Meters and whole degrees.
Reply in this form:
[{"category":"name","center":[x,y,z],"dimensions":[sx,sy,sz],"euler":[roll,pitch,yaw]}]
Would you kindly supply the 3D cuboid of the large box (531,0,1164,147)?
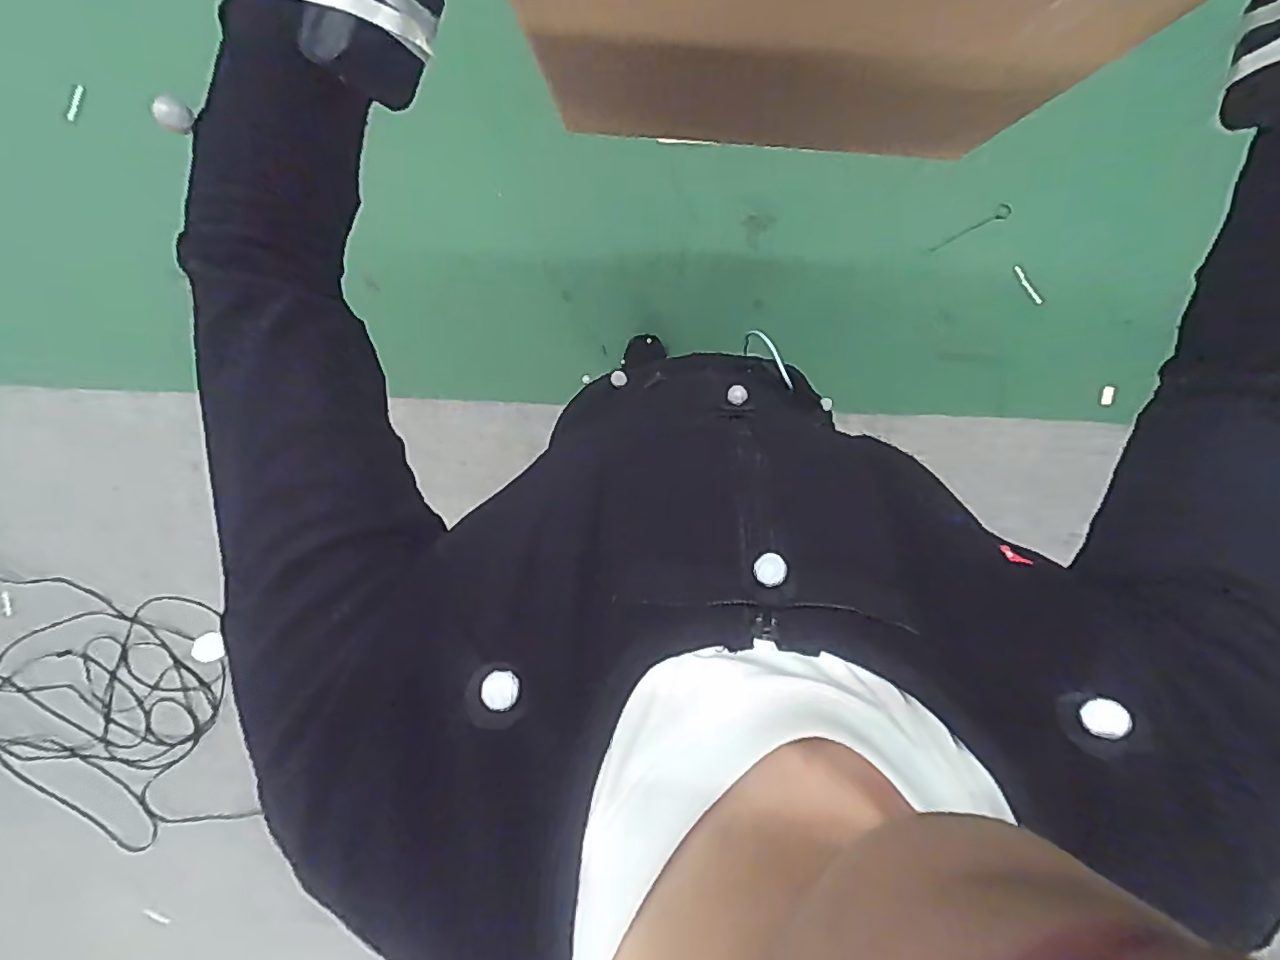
[{"category":"large box","center":[0.130,-0.462,0.375],"dimensions":[0.408,0.320,0.320],"euler":[4,104,0]}]
